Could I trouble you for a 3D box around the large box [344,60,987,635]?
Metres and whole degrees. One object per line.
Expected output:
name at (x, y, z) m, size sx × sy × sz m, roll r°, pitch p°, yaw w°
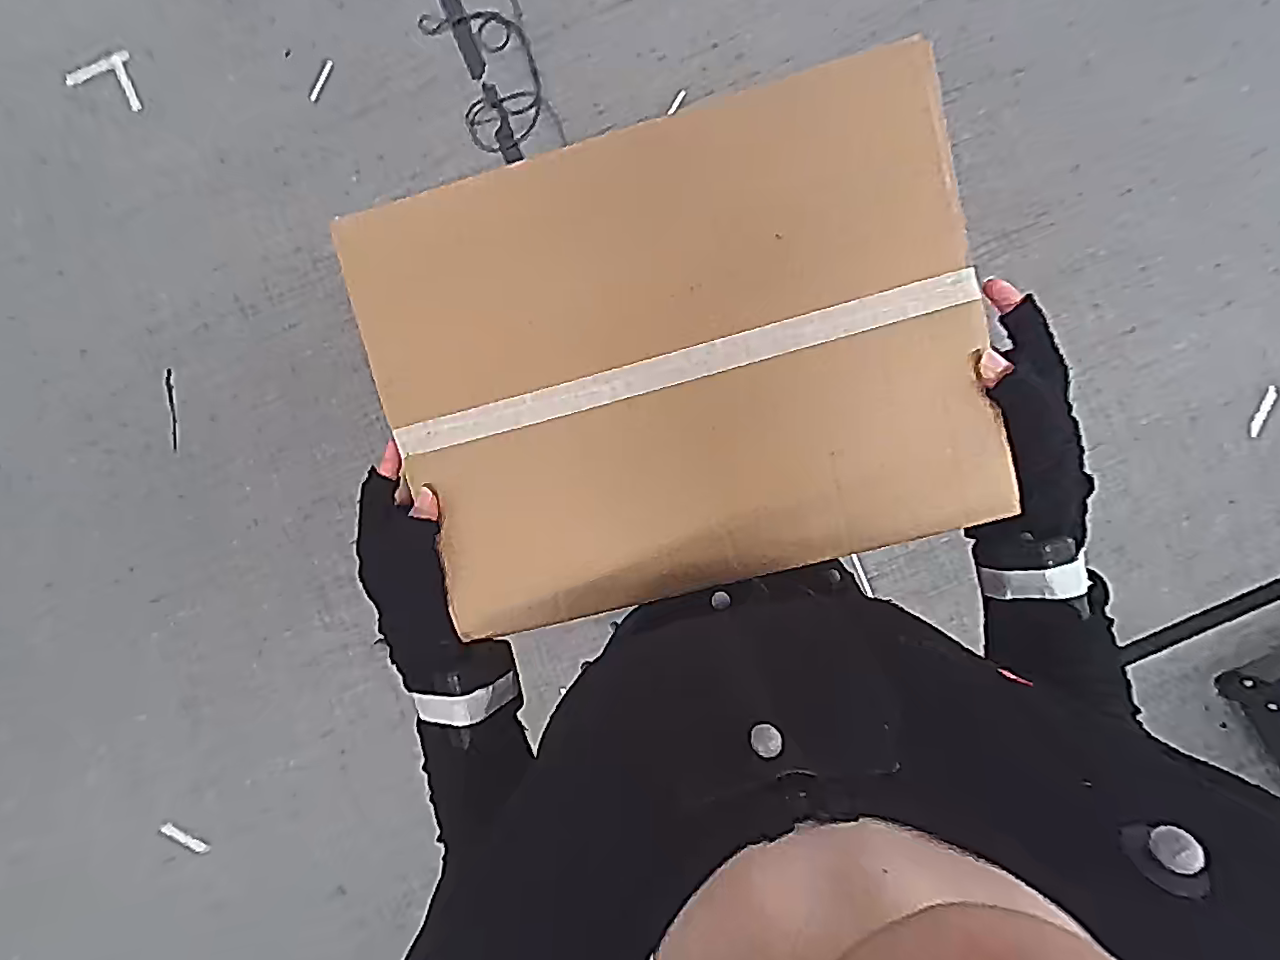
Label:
large box at (0.027, -0.096, 0.529) m, size 0.408 × 0.320 × 0.320 m, roll -15°, pitch 95°, yaw 5°
